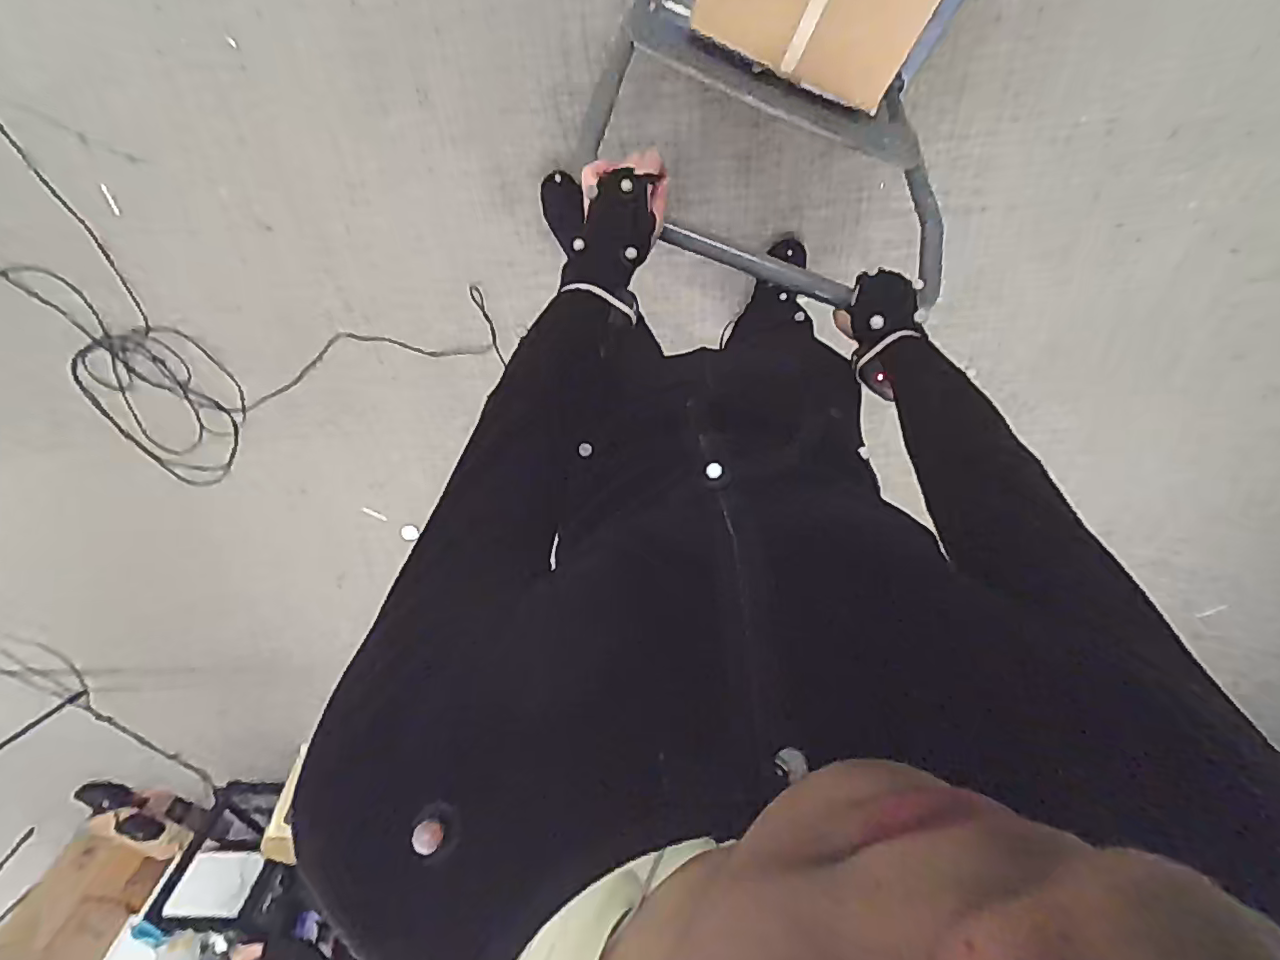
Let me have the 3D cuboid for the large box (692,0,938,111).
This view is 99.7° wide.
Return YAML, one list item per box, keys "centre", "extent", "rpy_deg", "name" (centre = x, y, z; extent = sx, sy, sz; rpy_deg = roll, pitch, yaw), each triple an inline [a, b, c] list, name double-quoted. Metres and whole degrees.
- centre: [0.297, -0.839, 0.759]
  extent: [0.320, 0.320, 0.408]
  rpy_deg: [17, 140, -10]
  name: "large box"
